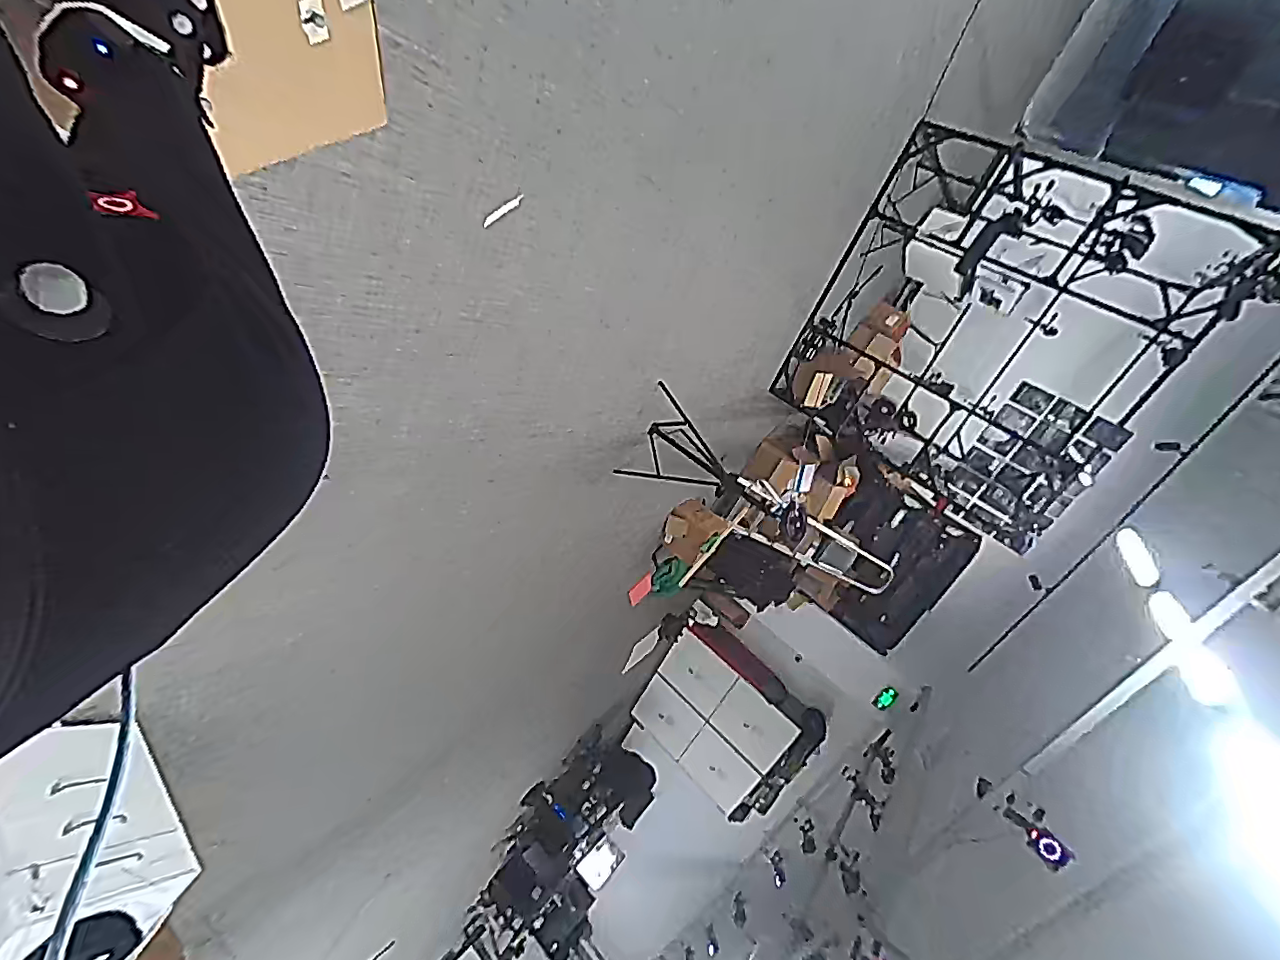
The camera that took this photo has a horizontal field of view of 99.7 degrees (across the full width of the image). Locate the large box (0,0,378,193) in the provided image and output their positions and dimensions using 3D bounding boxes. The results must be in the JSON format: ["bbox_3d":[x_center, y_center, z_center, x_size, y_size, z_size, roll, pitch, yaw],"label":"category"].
[{"bbox_3d":[-0.578,-0.594,0.589,0.320,0.408,0.320,-53,170,-36],"label":"large box"}]
